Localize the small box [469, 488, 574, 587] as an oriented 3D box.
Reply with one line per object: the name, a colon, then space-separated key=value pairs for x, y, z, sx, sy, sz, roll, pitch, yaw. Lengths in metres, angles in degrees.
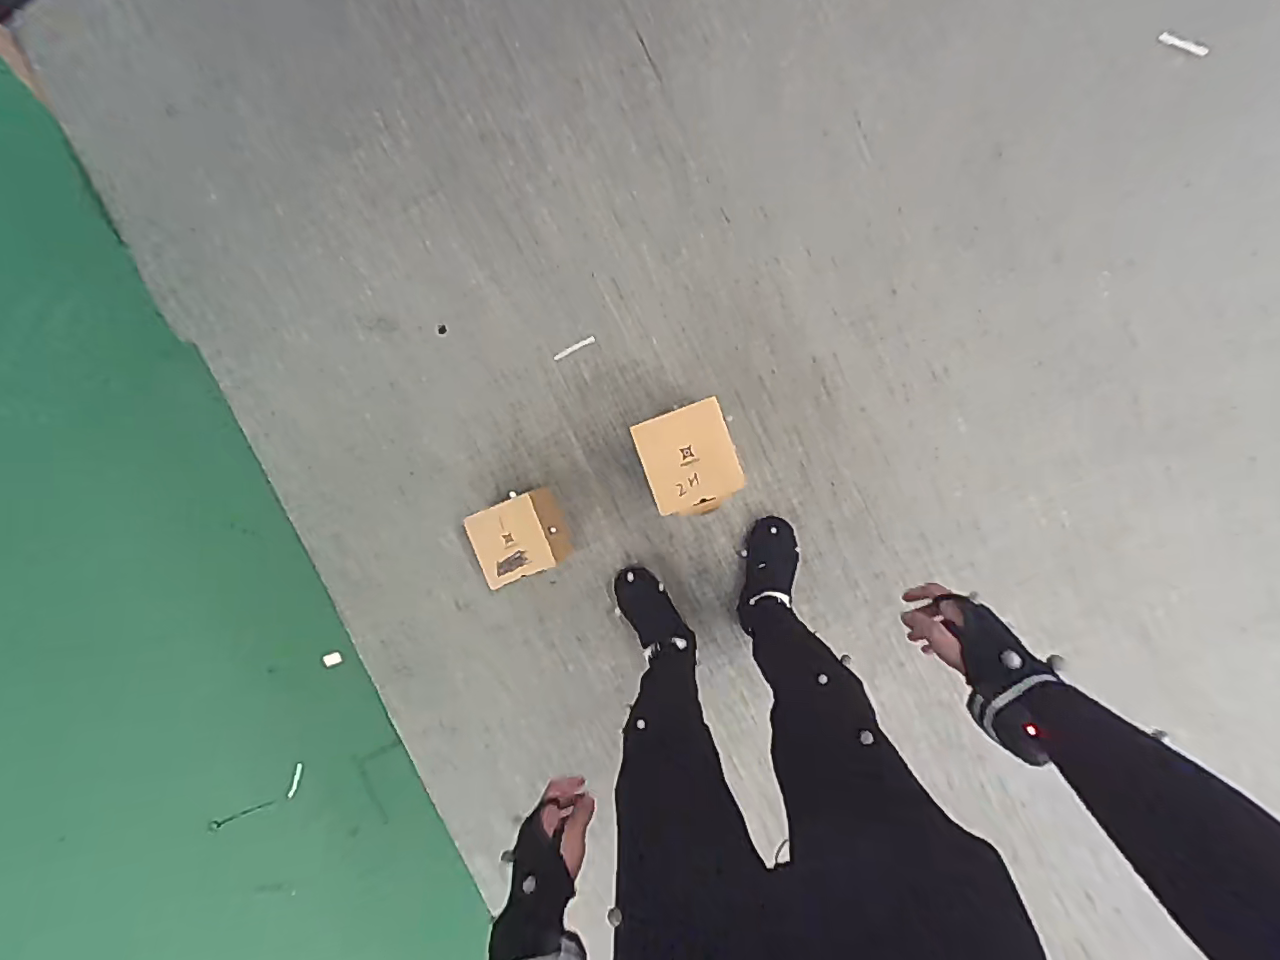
small box: x=-0.271 y=0.130 z=1.285 sx=0.168 sy=0.176 sz=0.179 roll=-21 pitch=92 yaw=6

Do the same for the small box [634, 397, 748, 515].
small box: x=0.099 y=-0.047 z=1.047 sx=0.168 sy=0.176 sz=0.179 roll=-19 pitch=93 yaw=8
